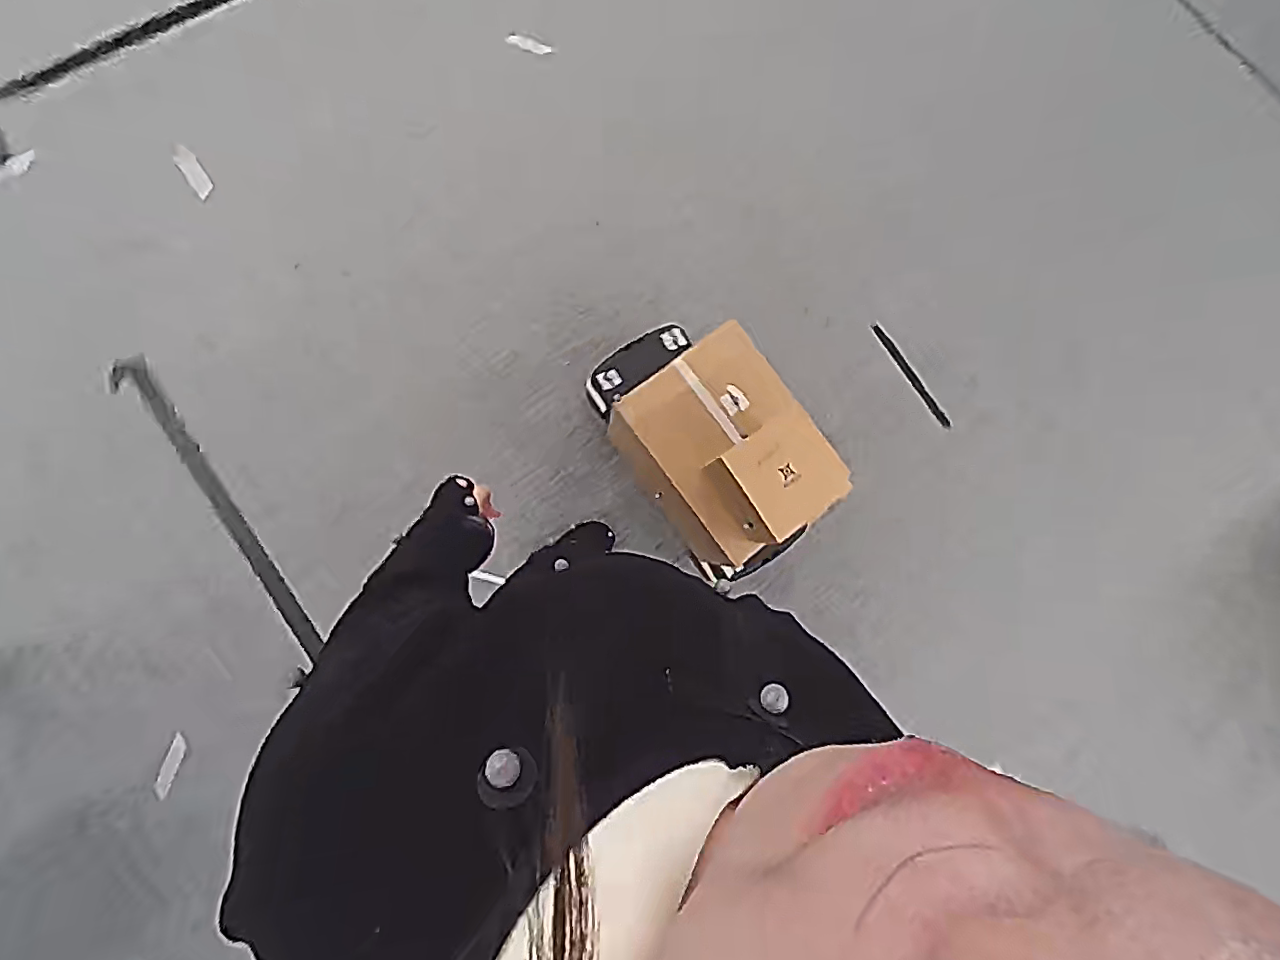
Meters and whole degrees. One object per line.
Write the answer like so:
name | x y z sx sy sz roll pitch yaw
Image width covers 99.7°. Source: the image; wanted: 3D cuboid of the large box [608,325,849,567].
large box | 0.170 -0.055 1.218 0.320 0.320 0.408 -36 88 -10

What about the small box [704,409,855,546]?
small box | 0.240 0.001 0.972 0.168 0.176 0.179 -33 88 -9
